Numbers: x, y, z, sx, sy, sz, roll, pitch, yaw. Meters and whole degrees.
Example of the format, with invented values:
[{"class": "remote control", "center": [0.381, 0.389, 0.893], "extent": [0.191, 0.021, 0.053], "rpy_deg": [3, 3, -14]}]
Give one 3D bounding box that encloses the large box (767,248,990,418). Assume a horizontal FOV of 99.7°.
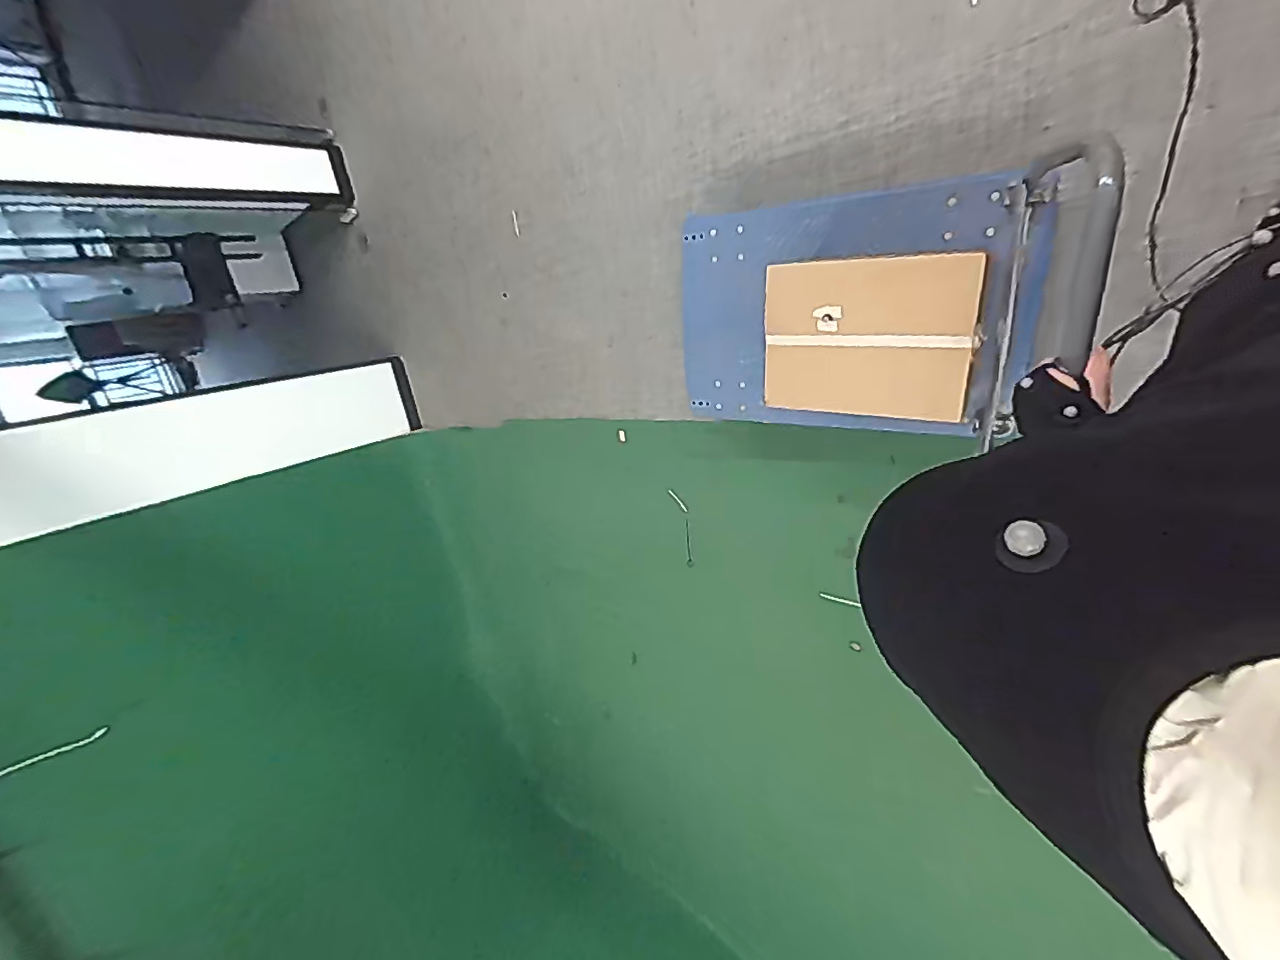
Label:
[{"class": "large box", "center": [0.535, -0.340, 1.225], "extent": [0.408, 0.320, 0.320], "rpy_deg": [10, 114, 32]}]
